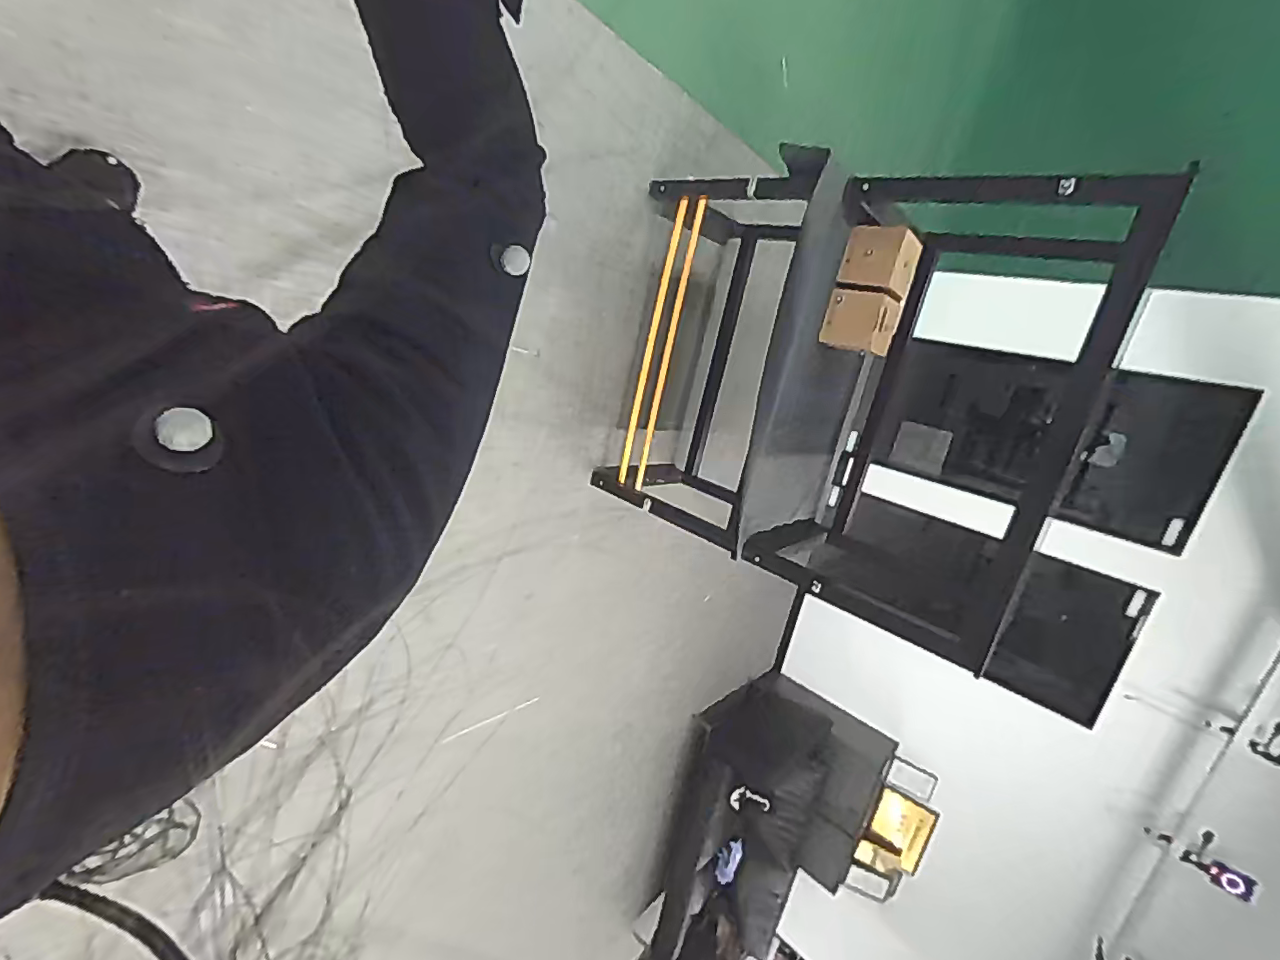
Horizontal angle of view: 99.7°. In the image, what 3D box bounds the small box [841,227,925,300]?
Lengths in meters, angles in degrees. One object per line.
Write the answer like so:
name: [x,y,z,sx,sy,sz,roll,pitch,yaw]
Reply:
small box: [0.746,-0.670,1.668,0.179,0.176,0.168,-1,112,-51]
